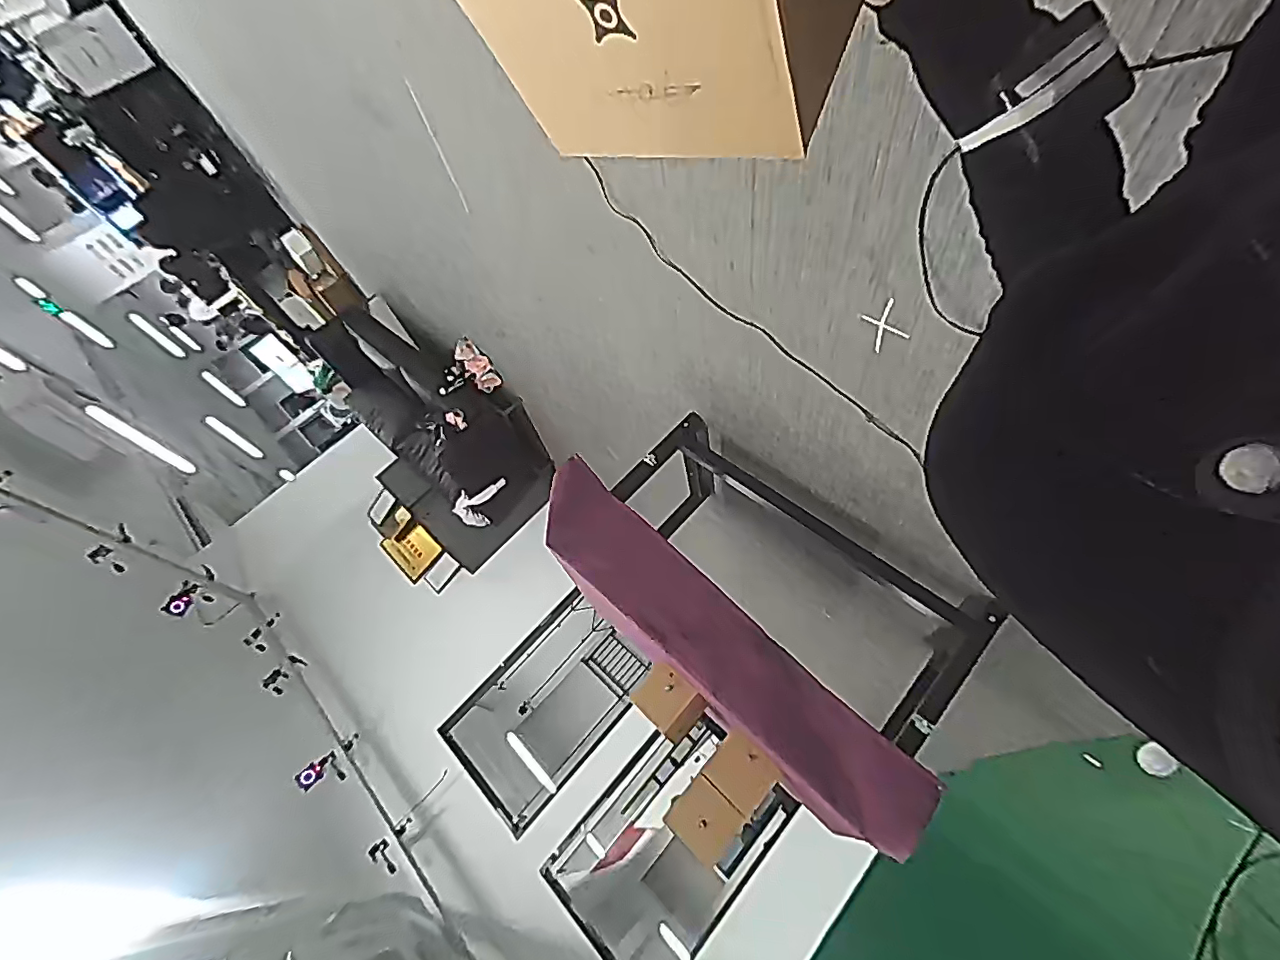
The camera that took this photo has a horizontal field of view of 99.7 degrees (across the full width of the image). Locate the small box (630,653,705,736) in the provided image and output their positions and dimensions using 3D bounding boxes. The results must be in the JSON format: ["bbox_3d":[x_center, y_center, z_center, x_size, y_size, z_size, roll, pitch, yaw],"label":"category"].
[{"bbox_3d":[0.099,0.711,1.793,0.168,0.176,0.179,33,160,34],"label":"small box"}]

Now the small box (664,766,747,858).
[{"bbox_3d":[0.198,0.975,1.602,0.179,0.176,0.168,35,161,29],"label":"small box"}]

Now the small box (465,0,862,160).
[{"bbox_3d":[0.017,-0.292,0.259,0.168,0.176,0.179,19,175,27],"label":"small box"}]

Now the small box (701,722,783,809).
[{"bbox_3d":[0.310,0.864,1.647,0.179,0.176,0.168,36,162,30],"label":"small box"}]
